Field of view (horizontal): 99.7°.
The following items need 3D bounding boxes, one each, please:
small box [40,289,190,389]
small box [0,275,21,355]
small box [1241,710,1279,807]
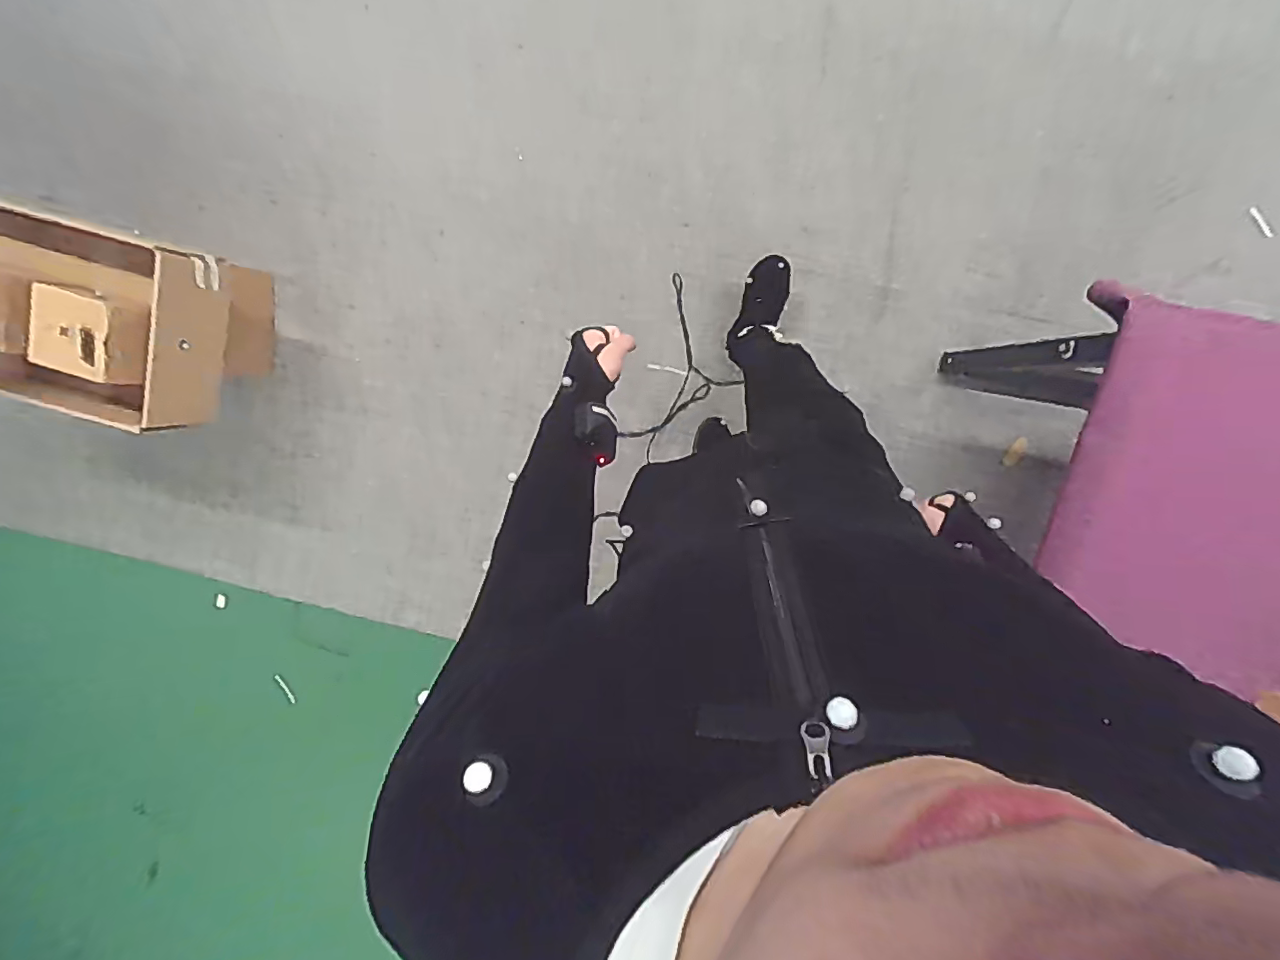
[{"bbox_3d":[-1.146,-0.304,1.192,0.179,0.176,0.168,16,100,4],"label":"small box"},{"bbox_3d":[-1.385,-0.344,1.049,0.179,0.176,0.168,15,100,1],"label":"small box"},{"bbox_3d":[1.060,0.443,0.781,0.179,0.176,0.168,14,101,3],"label":"small box"}]
